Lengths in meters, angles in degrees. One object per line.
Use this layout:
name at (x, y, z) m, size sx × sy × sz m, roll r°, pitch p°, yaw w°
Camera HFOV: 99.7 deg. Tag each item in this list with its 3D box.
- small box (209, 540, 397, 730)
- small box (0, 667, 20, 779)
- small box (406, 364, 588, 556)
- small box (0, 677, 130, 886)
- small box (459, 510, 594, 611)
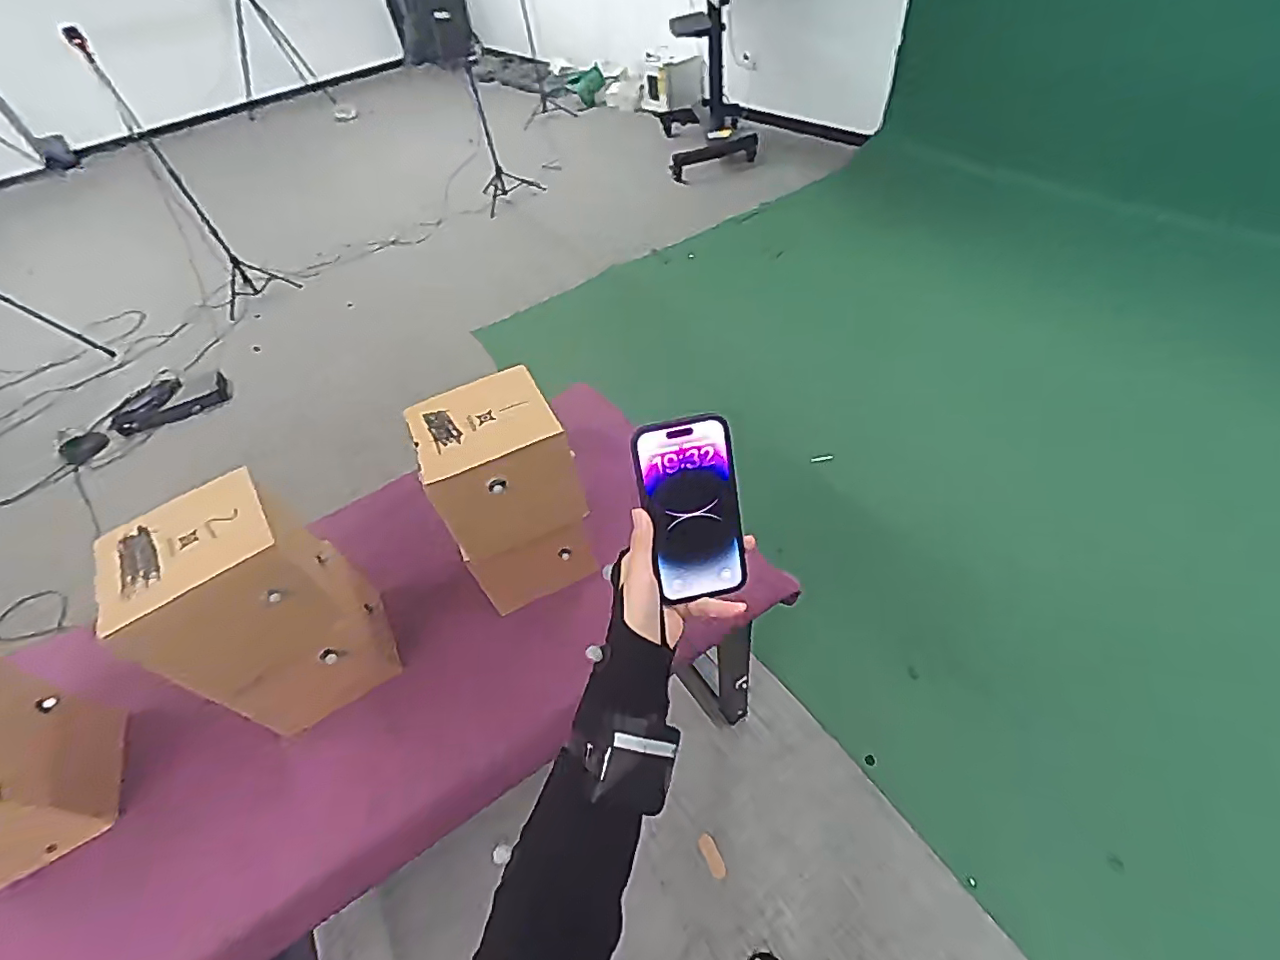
small box at (-0.480, 0.228, 0.791) m, size 0.179 × 0.176 × 0.168 m, roll -29°, pitch 50°, yaw -15°
small box at (-0.847, 0.285, 0.586) m, size 0.168 × 0.176 × 0.179 m, roll -32°, pitch 52°, yaw -19°
small box at (-0.192, -0.025, 0.745) m, size 0.179 × 0.176 × 0.168 m, roll -24°, pitch 49°, yaw -12°
small box at (-0.820, 0.399, 0.703) m, size 0.168 × 0.176 × 0.179 m, roll -28°, pitch 50°, yaw -15°
small box at (-0.184, 0.078, 0.873) m, size 0.179 × 0.176 × 0.168 m, roll -24°, pitch 49°, yaw -10°
